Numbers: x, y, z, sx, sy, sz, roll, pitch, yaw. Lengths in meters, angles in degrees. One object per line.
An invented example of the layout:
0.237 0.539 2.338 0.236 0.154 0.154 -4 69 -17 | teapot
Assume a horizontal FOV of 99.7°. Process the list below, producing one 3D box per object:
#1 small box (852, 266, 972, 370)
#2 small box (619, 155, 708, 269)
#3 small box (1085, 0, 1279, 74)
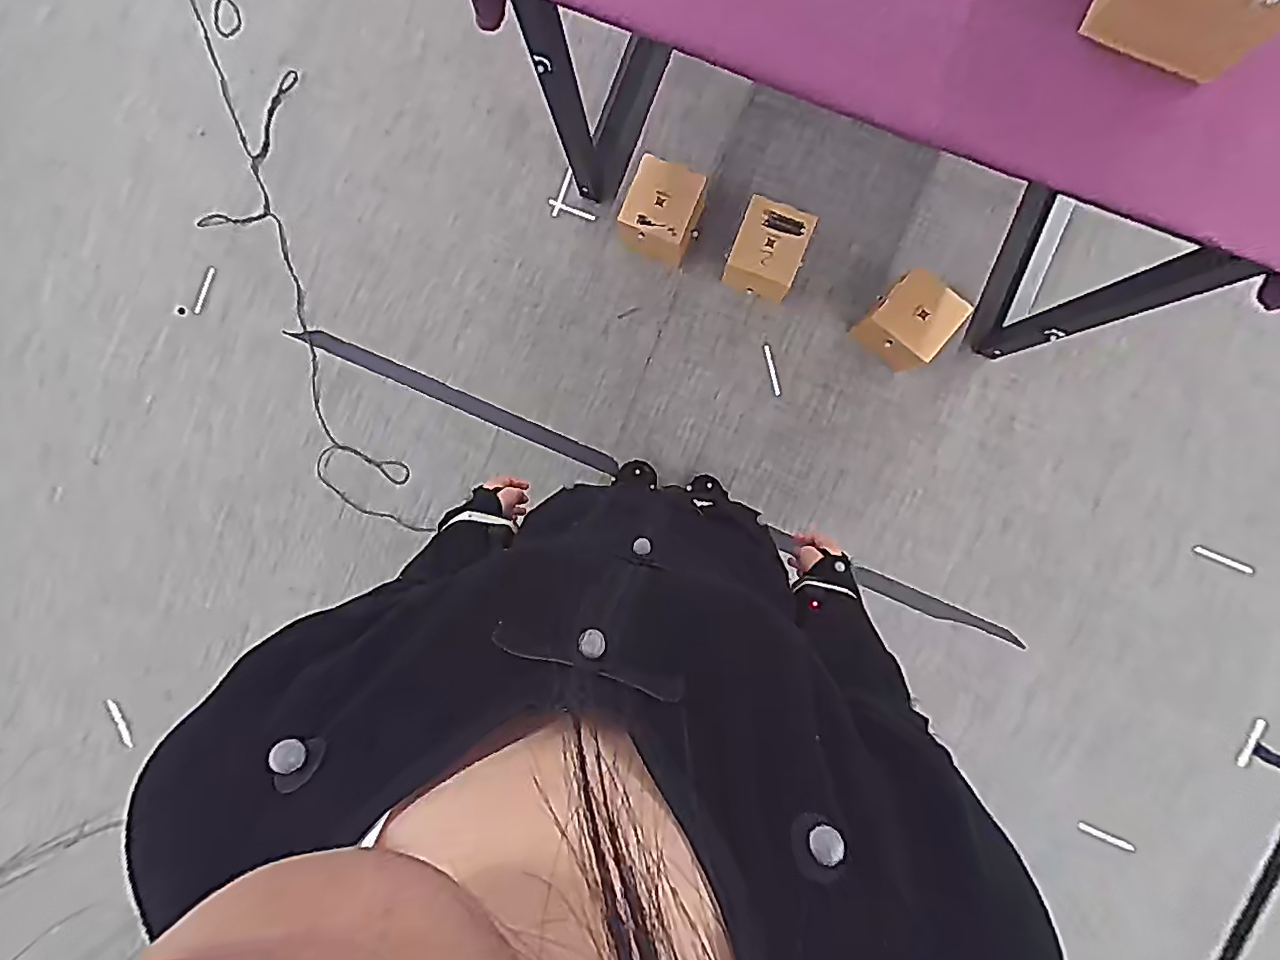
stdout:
0.671 -0.394 1.355 0.179 0.176 0.168 40 95 3 | small box
0.059 -0.675 1.381 0.168 0.176 0.179 24 92 2 | small box
0.678 -0.614 0.613 0.179 0.176 0.168 25 93 3 | small box
